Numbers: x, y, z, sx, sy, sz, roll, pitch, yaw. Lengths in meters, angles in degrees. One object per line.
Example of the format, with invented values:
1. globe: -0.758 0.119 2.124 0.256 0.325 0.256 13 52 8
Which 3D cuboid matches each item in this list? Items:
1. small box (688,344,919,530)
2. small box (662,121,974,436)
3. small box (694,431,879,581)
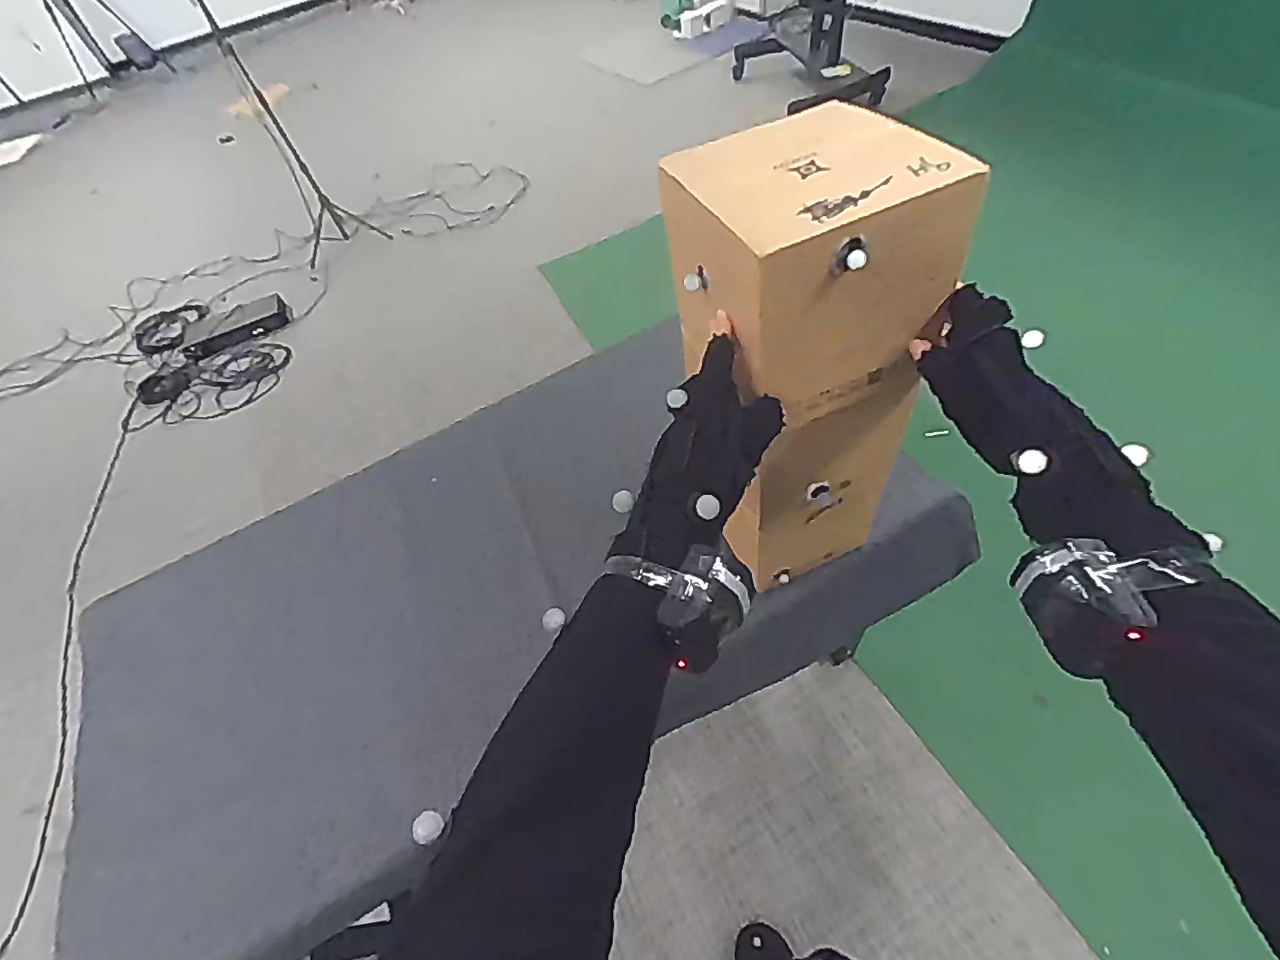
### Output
1. small box: 0.163 -0.077 0.598 0.168 0.176 0.179 -23 54 -5
2. small box: 0.132 -0.169 0.463 0.168 0.176 0.179 -22 50 -4
3. small box: 0.189 0.015 0.728 0.168 0.176 0.179 -23 52 -6
